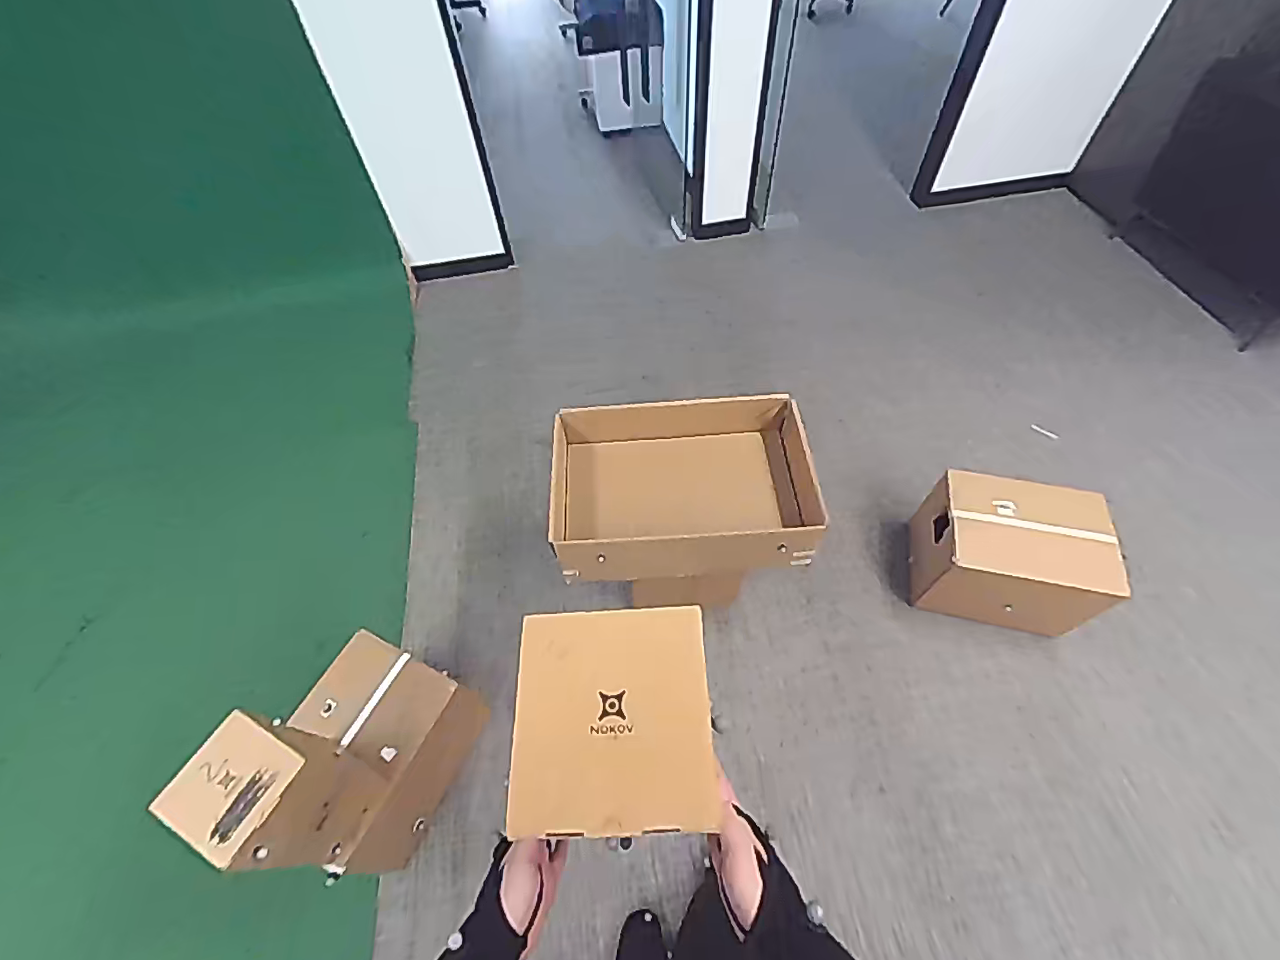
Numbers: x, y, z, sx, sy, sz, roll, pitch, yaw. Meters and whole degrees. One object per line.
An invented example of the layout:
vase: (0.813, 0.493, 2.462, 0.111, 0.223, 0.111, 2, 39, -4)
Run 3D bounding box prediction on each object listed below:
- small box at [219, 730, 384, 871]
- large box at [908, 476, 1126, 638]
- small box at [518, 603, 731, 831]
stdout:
small box: (-0.640, 0.618, 1.047, 0.179, 0.176, 0.168, 23, 59, 18)
large box: (1.032, 0.225, 1.546, 0.408, 0.320, 0.320, 9, 56, 10)
small box: (-0.010, 0.232, 0.520, 0.168, 0.176, 0.179, -3, 58, 2)
